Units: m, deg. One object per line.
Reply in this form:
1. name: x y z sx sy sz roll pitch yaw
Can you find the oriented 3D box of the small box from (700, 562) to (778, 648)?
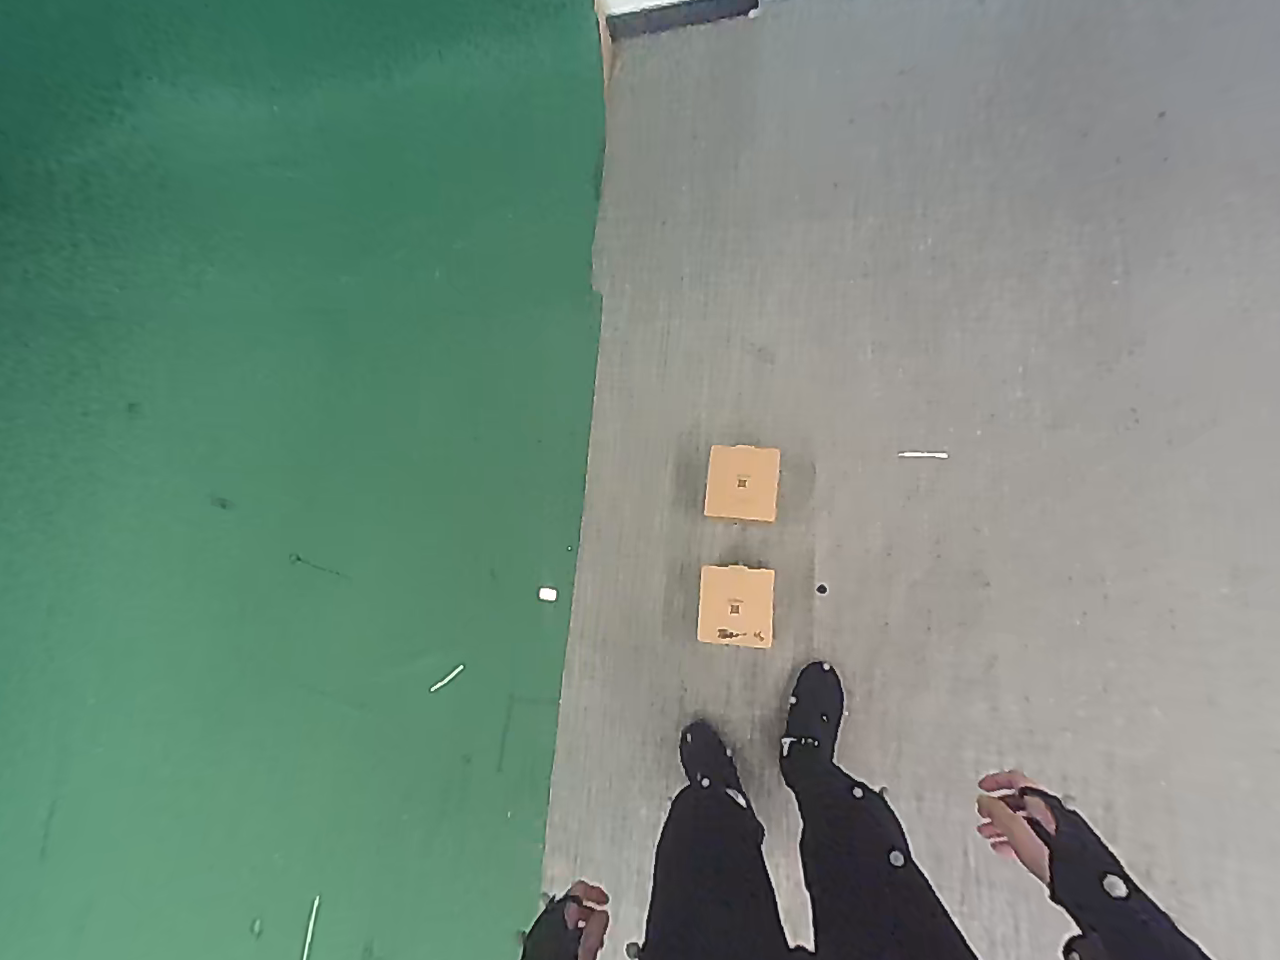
1. small box: 0.242 0.297 1.294 0.168 0.176 0.179 2 79 15
